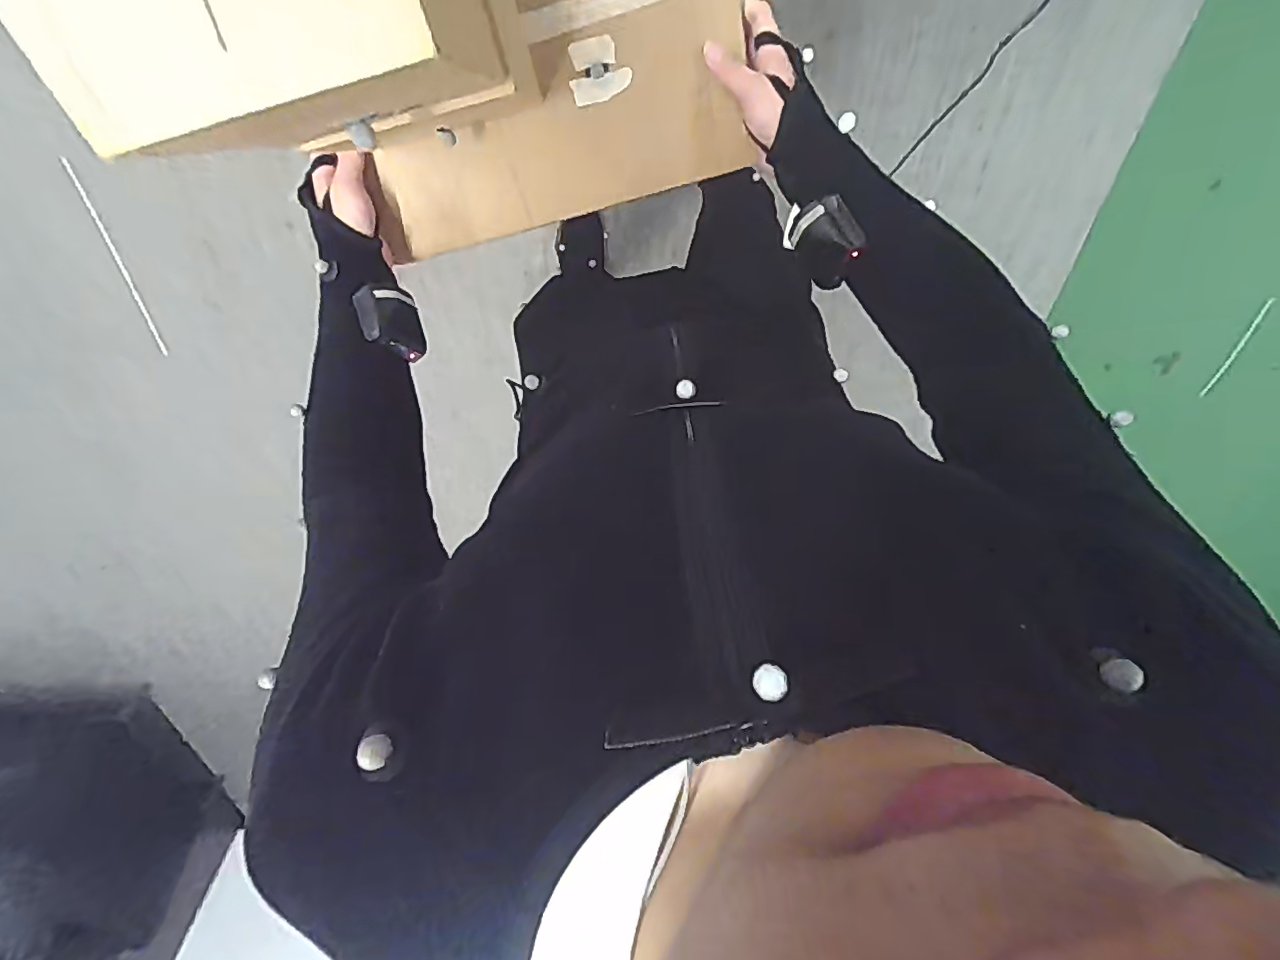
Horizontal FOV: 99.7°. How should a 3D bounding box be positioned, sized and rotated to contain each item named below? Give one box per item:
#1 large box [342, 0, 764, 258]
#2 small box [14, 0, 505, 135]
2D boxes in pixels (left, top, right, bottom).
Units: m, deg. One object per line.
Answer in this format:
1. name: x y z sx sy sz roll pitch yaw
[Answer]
1. large box: -0.113 -0.492 0.611 0.408 0.320 0.320 -14 123 6
2. small box: -0.180 -0.282 0.256 0.168 0.176 0.179 -12 123 6
